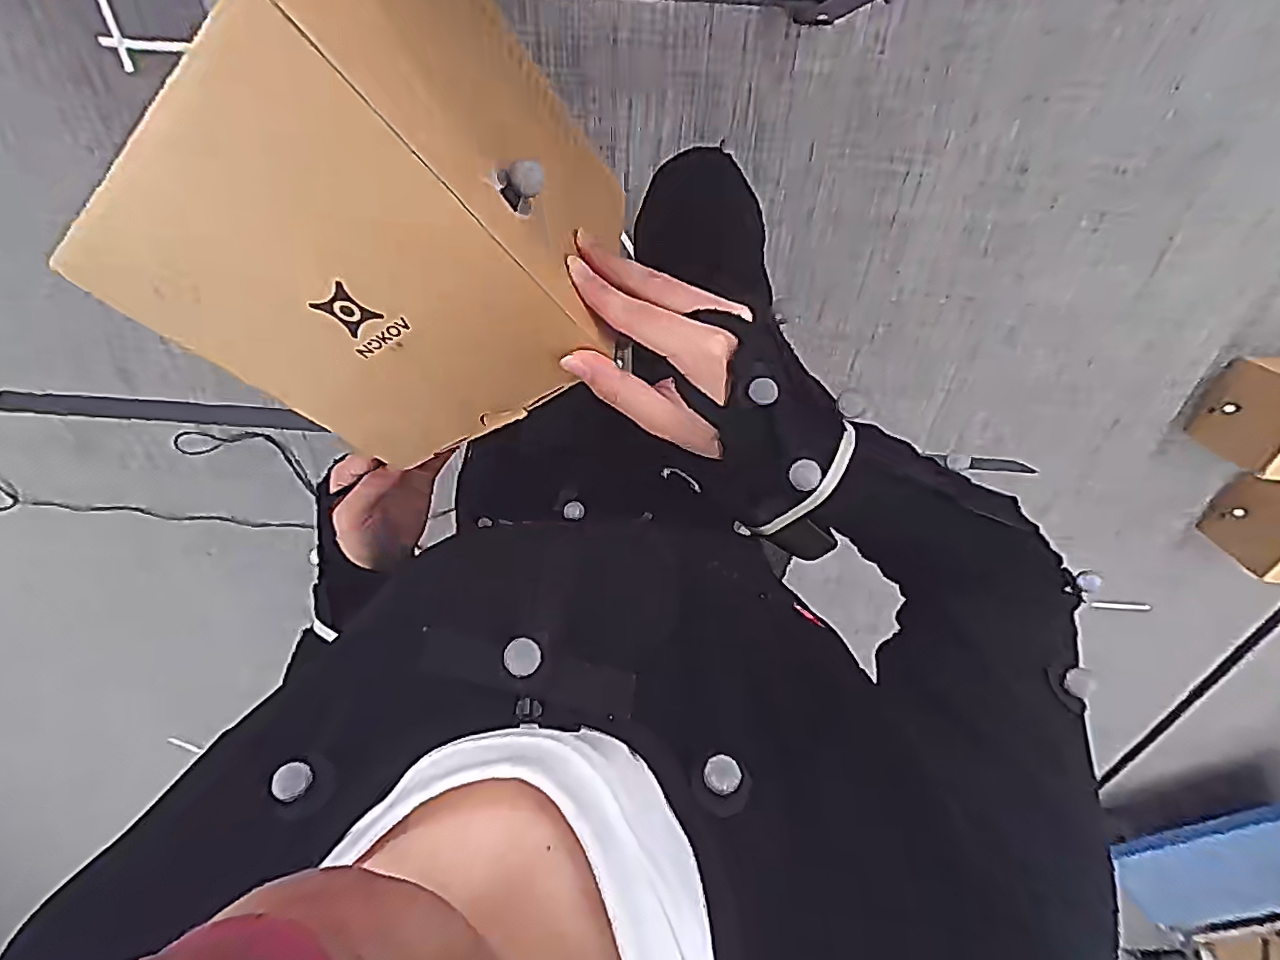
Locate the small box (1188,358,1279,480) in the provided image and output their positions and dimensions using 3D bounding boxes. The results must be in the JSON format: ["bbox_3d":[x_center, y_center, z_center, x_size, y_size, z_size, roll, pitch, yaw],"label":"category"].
[{"bbox_3d":[1.183,-0.111,0.977,0.179,0.176,0.168,3,124,0],"label":"small box"}]

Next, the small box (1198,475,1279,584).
[{"bbox_3d":[1.354,0.101,1.122,0.179,0.176,0.168,6,125,-2],"label":"small box"}]

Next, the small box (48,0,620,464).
[{"bbox_3d":[-0.125,-0.143,0.286,0.168,0.176,0.179,-22,139,27],"label":"small box"}]
